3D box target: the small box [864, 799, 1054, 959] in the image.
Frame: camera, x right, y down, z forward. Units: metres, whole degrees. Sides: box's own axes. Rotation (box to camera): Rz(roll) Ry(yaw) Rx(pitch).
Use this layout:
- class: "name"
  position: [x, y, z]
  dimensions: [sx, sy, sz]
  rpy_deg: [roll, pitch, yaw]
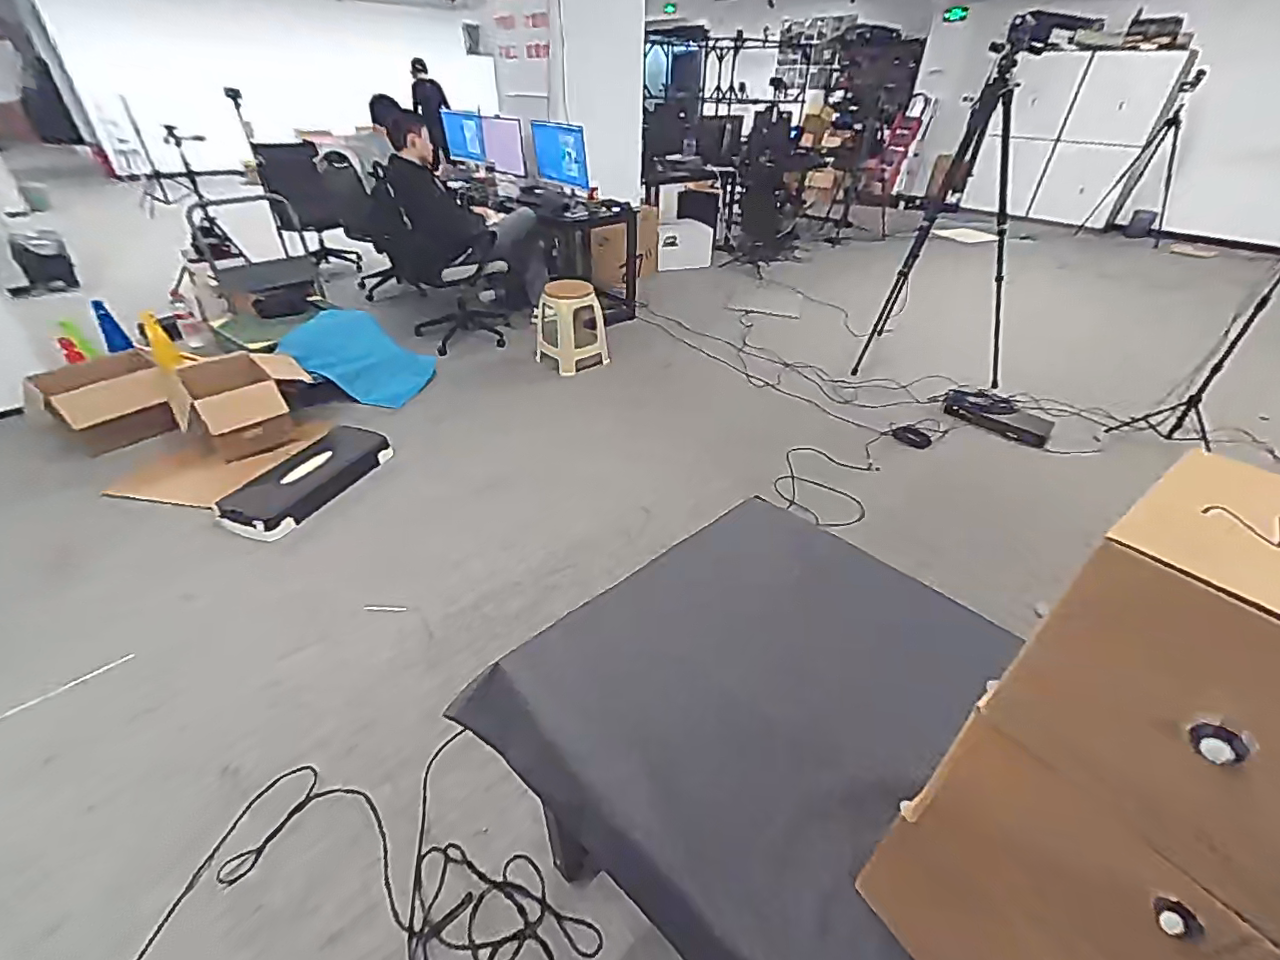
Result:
- class: "small box"
  position: [0.345, 0.379, 0.501]
  dimensions: [0.168, 0.176, 0.179]
  rpy_deg: [-19, 39, -29]

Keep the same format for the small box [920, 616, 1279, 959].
- class: "small box"
  position: [0.353, 0.245, 0.410]
  dimensions: [0.168, 0.176, 0.179]
  rpy_deg: [-20, 41, -29]
